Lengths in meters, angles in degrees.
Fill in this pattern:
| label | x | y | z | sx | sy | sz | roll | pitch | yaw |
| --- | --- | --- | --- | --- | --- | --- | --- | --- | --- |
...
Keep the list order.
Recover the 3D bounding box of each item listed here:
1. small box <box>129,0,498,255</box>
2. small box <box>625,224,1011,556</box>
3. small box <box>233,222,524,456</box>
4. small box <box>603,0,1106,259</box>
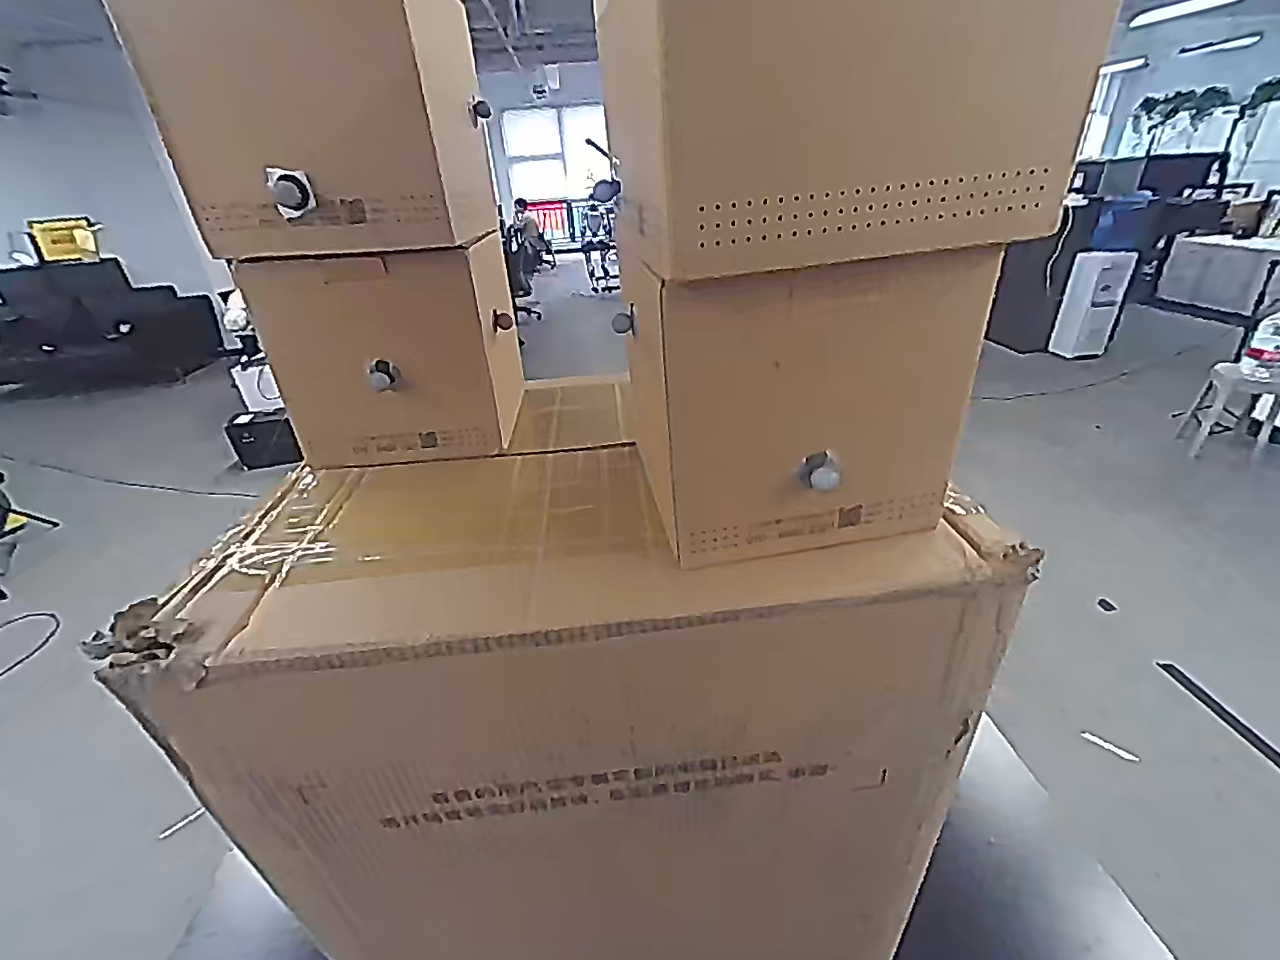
| label | x | y | z | sx | sy | sz | roll | pitch | yaw |
| --- | --- | --- | --- | --- | --- | --- | --- | --- | --- |
| small box | -0.209 | -0.263 | 0.394 | 0.168 | 0.176 | 0.179 | -5 | 30 | -1 |
| small box | 0.086 | -0.075 | 0.353 | 0.168 | 0.176 | 0.179 | -9 | 31 | -4 |
| small box | -0.204 | -0.128 | 0.487 | 0.168 | 0.176 | 0.179 | -5 | 30 | -3 |
| small box | 0.079 | -0.205 | 0.250 | 0.179 | 0.176 | 0.168 | -9 | 31 | -6 |
